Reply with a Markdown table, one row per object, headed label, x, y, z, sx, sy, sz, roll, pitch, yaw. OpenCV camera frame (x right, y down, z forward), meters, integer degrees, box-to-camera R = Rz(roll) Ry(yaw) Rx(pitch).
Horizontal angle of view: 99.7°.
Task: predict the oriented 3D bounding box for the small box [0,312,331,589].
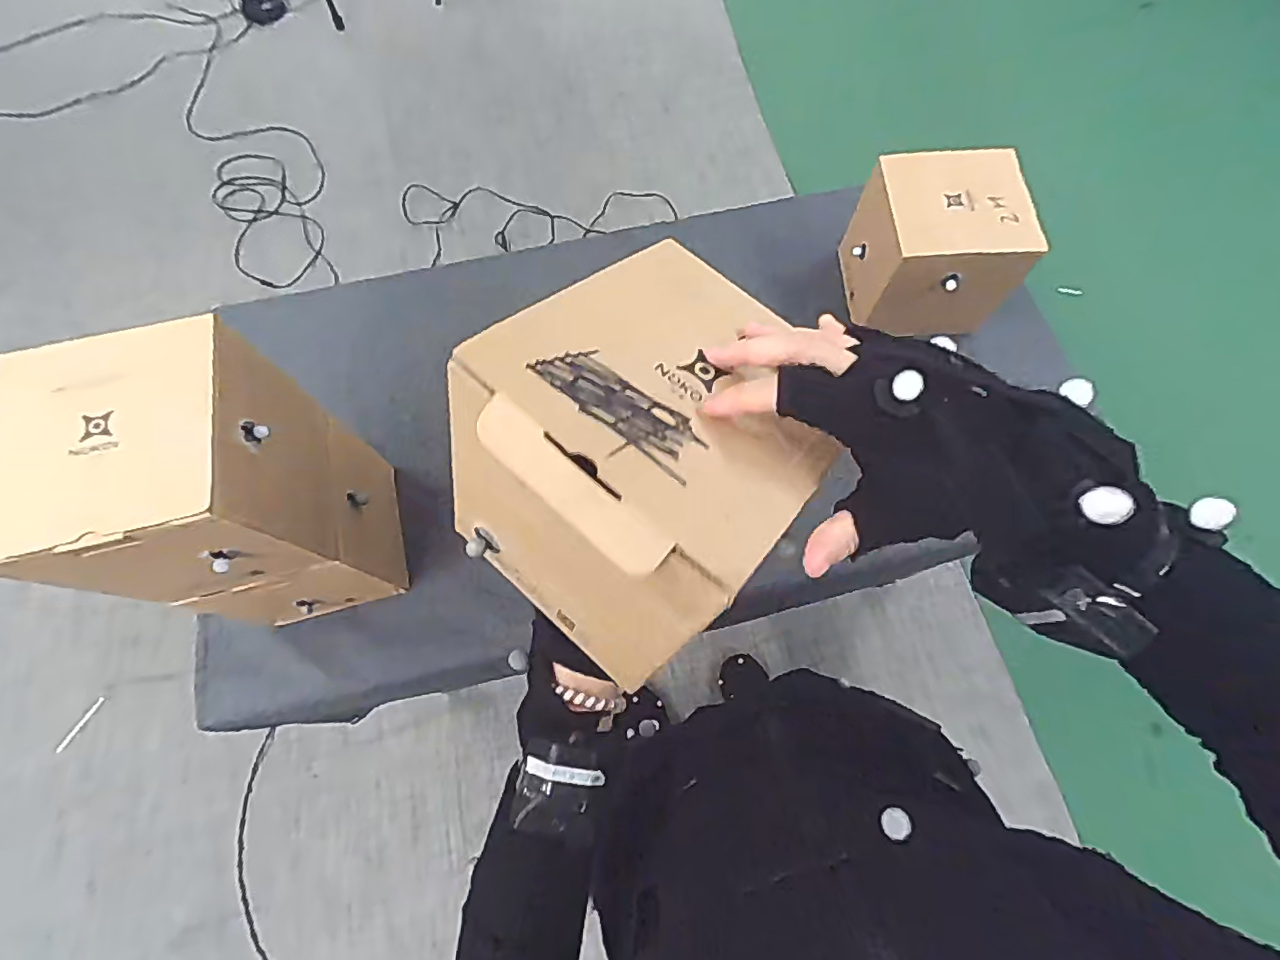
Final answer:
| label | x | y | z | sx | sy | sz | roll | pitch | yaw |
| --- | --- | --- | --- | --- | --- | --- | --- | --- | --- |
| small box | -0.393 | -0.010 | 0.469 | 0.168 | 0.176 | 0.179 | -13 | 70 | -5 |

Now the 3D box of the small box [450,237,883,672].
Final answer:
| label | x | y | z | sx | sy | sz | roll | pitch | yaw |
| --- | --- | --- | --- | --- | --- | --- | --- | --- | --- |
| small box | 0.007 | -0.012 | 0.339 | 0.168 | 0.176 | 0.179 | 40 | 54 | 11 |

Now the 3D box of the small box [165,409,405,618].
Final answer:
| label | x | y | z | sx | sy | sz | roll | pitch | yaw |
| --- | --- | --- | --- | --- | --- | --- | --- | --- | --- |
| small box | -0.391 | 0.047 | 0.622 | 0.168 | 0.176 | 0.179 | -15 | 71 | -5 |

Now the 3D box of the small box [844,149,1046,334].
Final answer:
| label | x | y | z | sx | sy | sz | roll | pitch | yaw |
| --- | --- | --- | --- | --- | --- | --- | --- | --- | --- |
| small box | 0.393 | -0.315 | 0.739 | 0.179 | 0.176 | 0.168 | -1 | 71 | 0 |
